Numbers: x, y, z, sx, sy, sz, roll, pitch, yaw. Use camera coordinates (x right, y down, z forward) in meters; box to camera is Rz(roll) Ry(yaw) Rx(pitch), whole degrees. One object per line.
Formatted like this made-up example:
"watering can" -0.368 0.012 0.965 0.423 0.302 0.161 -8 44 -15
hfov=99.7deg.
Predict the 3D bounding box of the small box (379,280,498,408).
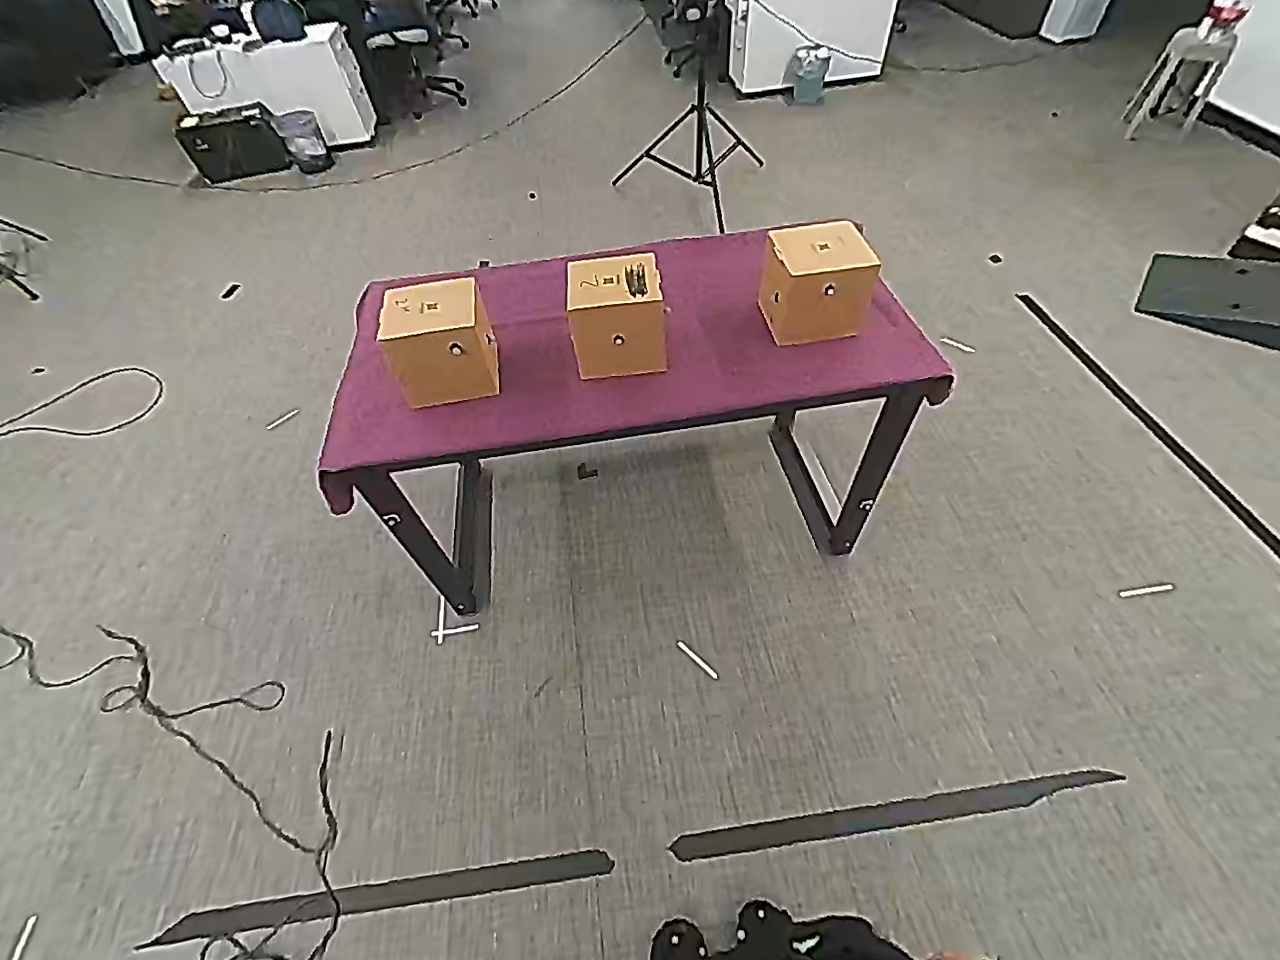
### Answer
"small box" -0.383 -0.264 1.065 0.179 0.176 0.168 -11 51 -4

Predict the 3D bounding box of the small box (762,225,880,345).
"small box" 0.357 -0.395 1.110 0.179 0.176 0.168 -7 53 -2
